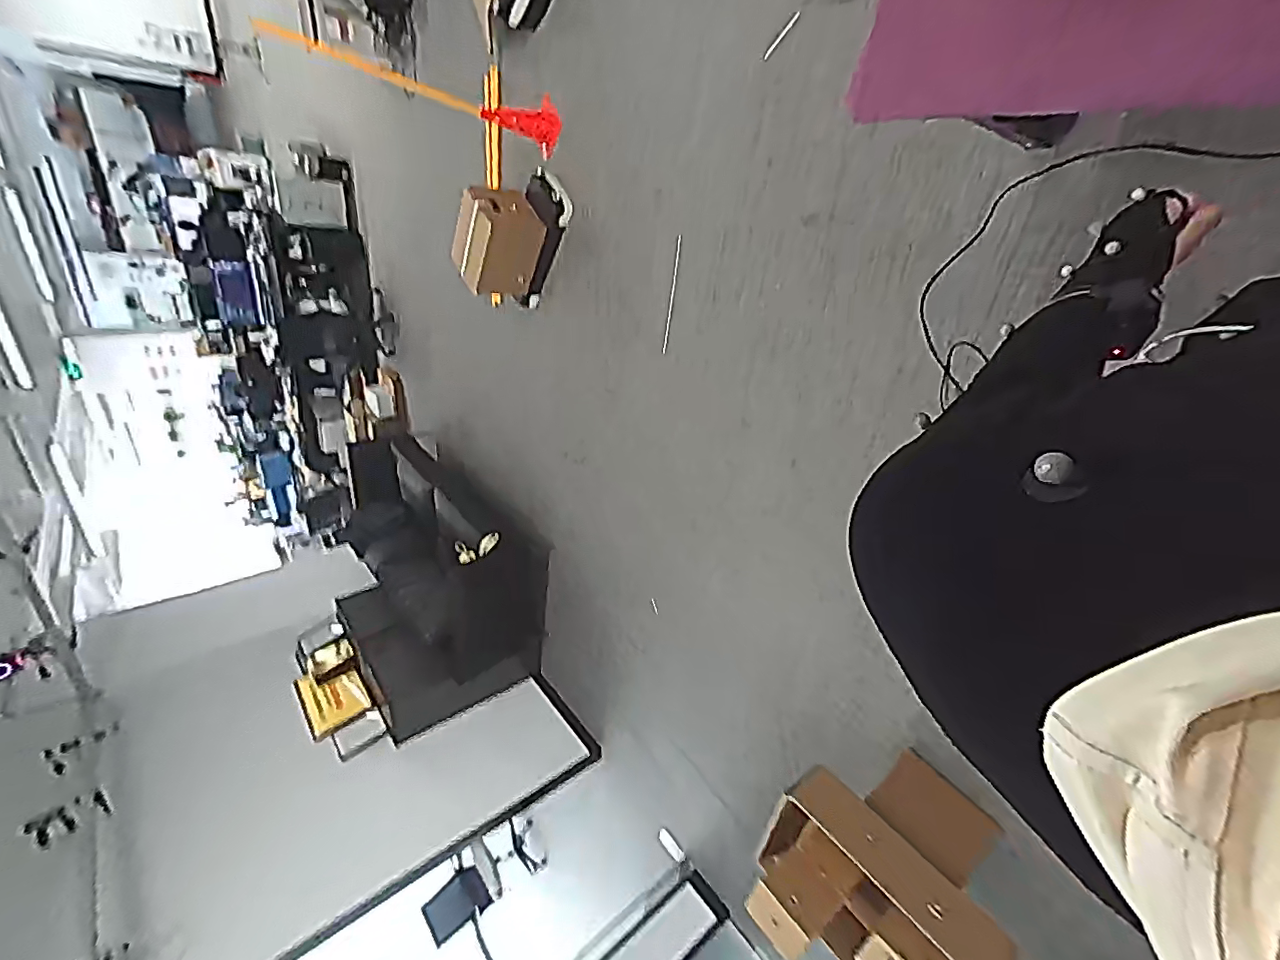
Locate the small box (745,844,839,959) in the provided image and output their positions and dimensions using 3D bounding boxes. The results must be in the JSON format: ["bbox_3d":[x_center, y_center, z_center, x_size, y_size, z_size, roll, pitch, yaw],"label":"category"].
[{"bbox_3d":[0.435,1.197,1.541,0.179,0.176,0.168,38,129,38],"label":"small box"}]
